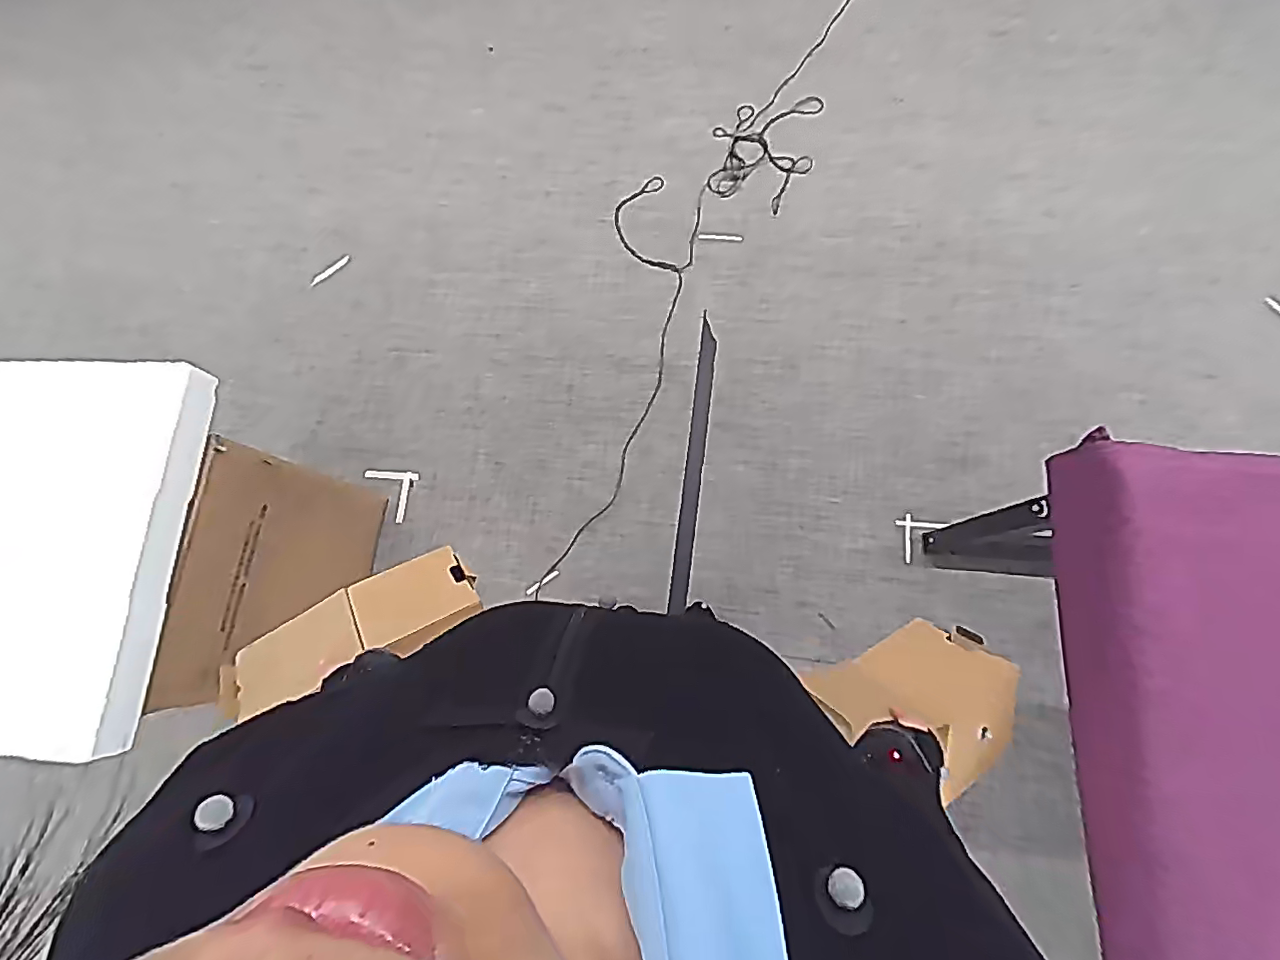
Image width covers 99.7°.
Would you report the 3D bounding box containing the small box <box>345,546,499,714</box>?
[{"bbox_3d":[-0.356,0.248,0.897,0.179,0.176,0.168,-23,40,-25],"label":"small box"}]
